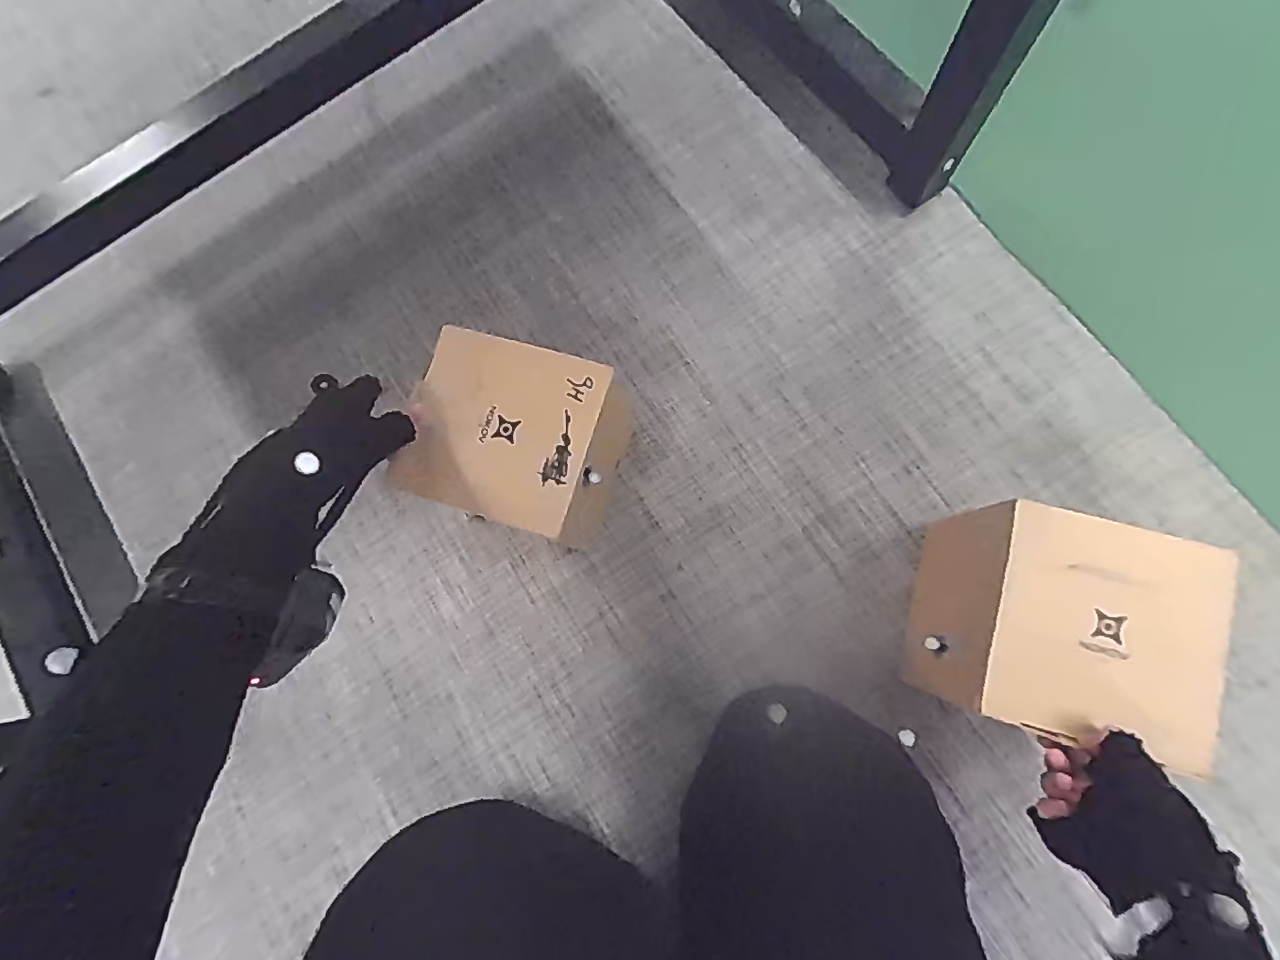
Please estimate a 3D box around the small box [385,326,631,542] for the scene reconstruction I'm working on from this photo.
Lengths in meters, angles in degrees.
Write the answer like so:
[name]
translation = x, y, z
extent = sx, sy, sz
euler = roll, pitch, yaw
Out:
[small box]
translation = -0.122, -0.036, 0.572
extent = 0.179, 0.176, 0.168
euler = 16, 82, 9
